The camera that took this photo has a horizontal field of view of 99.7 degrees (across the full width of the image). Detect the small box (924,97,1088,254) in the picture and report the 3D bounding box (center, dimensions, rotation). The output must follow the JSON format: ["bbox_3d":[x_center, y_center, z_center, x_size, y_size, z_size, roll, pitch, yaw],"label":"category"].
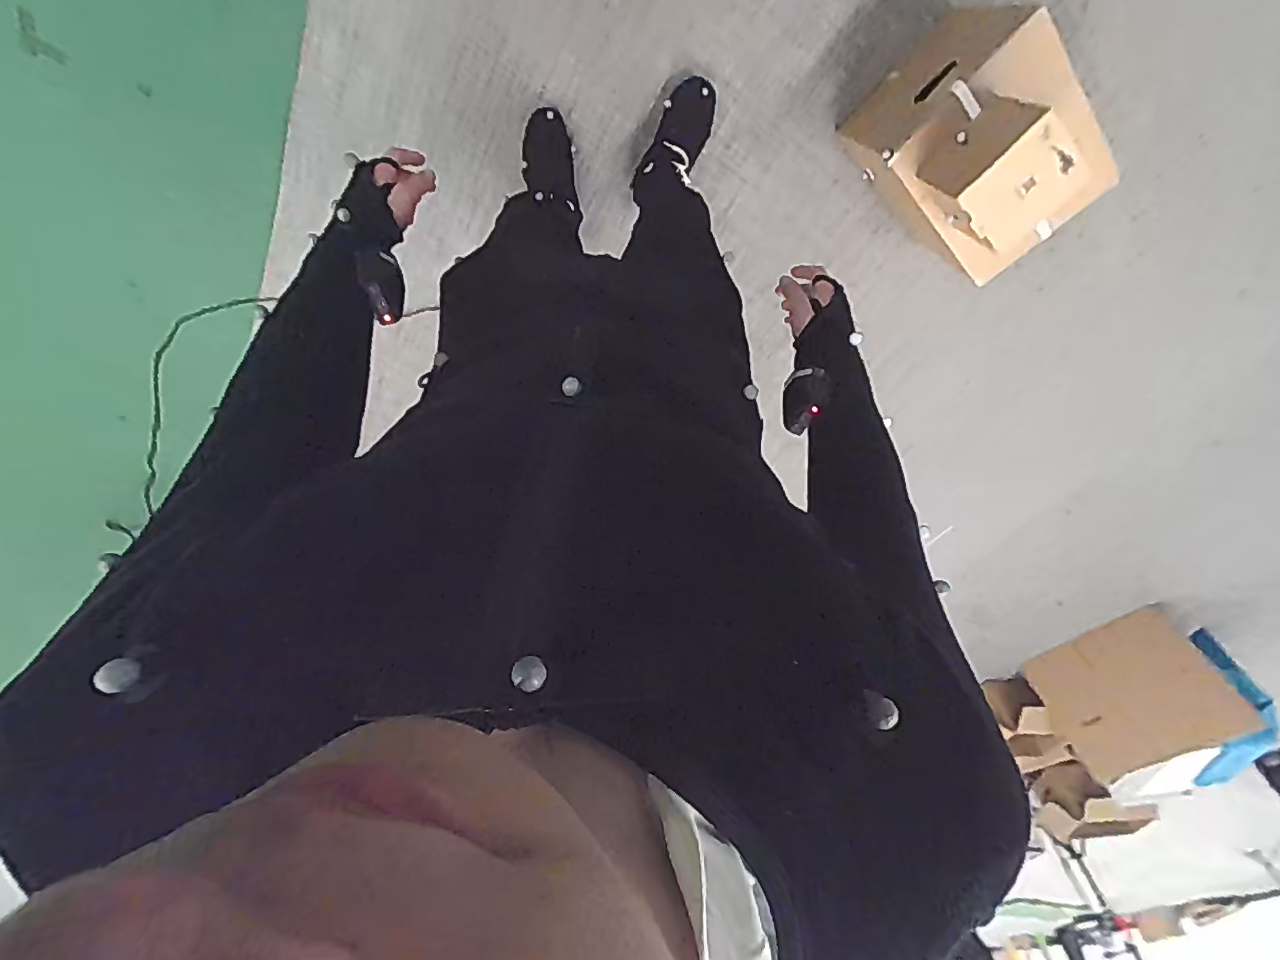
[{"bbox_3d":[0.665,-0.568,1.010,0.168,0.176,0.179,30,124,-27],"label":"small box"}]
